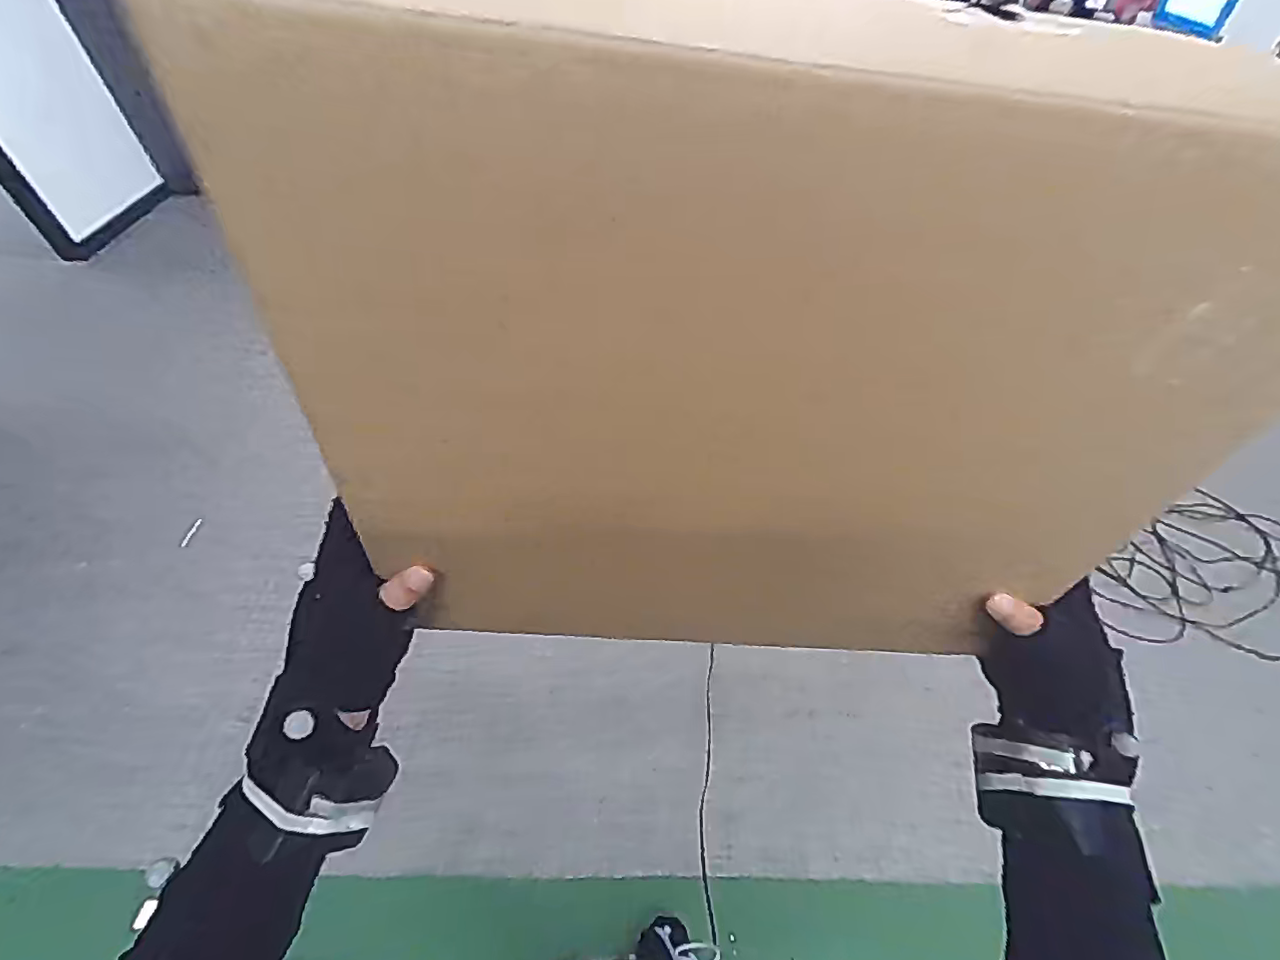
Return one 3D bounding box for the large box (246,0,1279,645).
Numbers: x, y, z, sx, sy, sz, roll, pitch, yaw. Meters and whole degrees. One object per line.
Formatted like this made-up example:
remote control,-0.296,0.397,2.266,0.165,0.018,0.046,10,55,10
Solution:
large box,0.071,-0.103,0.363,0.408,0.320,0.320,5,46,-6
